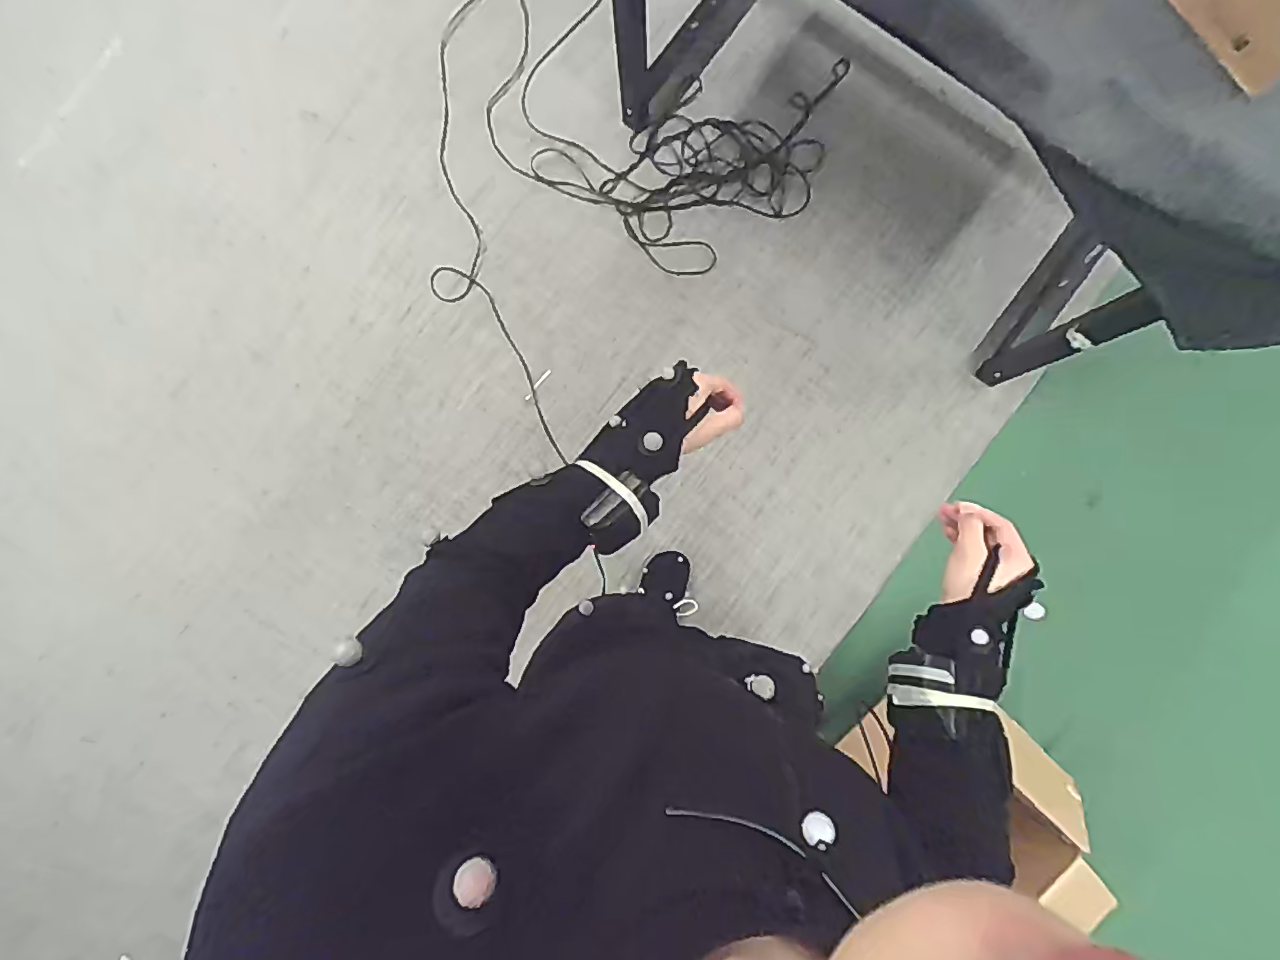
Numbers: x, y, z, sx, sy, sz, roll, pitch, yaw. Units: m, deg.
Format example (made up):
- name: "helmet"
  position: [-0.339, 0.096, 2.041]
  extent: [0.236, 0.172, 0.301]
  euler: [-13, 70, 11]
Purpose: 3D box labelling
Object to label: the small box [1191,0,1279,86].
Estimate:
- name: "small box"
  position: [0.746, -0.573, 0.565]
  extent: [0.179, 0.176, 0.168]
  euler: [-34, 86, -2]
